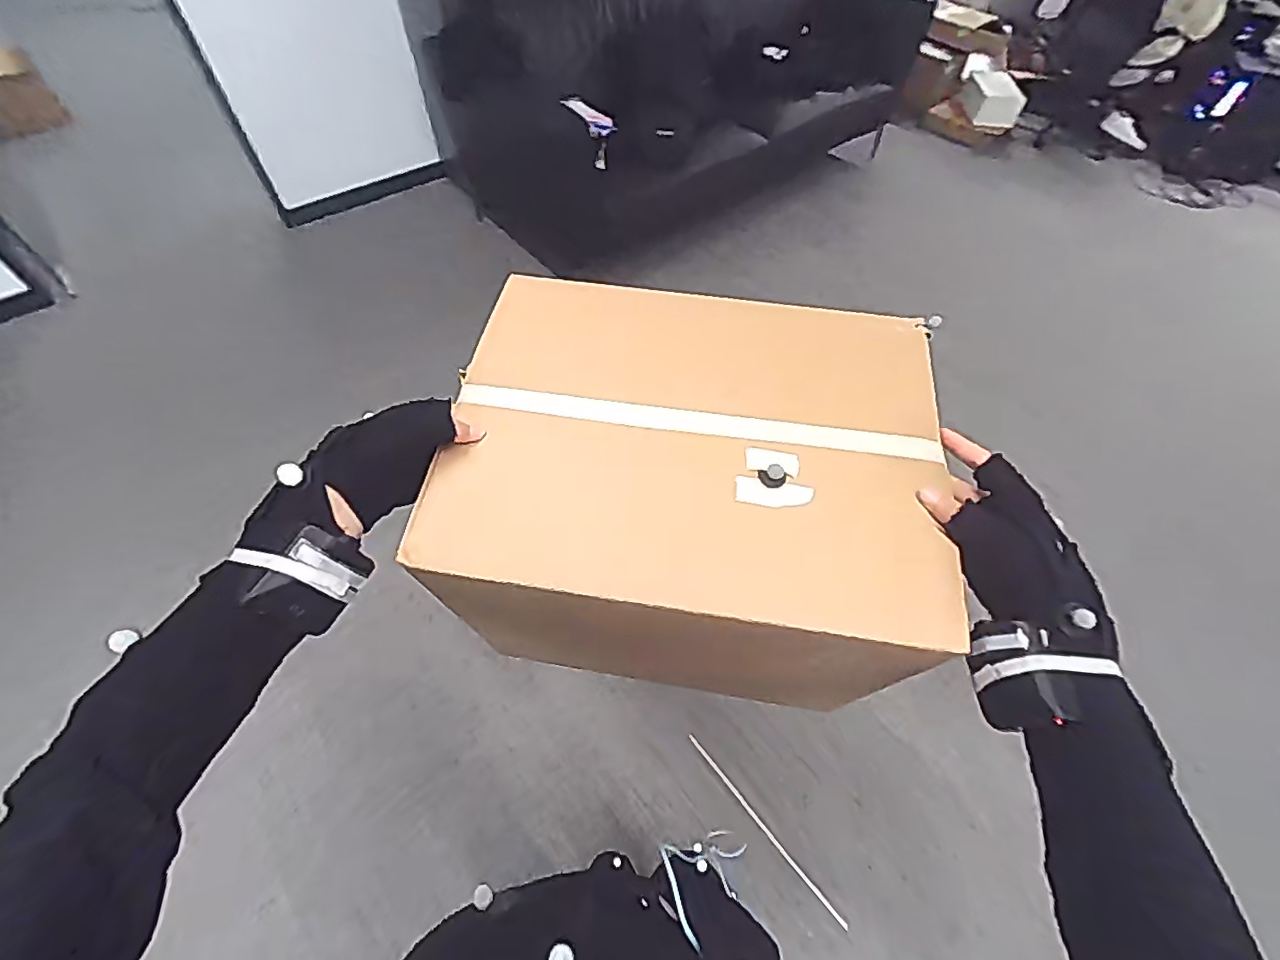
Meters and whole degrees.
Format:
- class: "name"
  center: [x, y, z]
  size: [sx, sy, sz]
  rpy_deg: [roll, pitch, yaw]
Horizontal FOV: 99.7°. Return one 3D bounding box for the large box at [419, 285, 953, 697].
- class: "large box"
  center: [0.044, 0.028, 0.596]
  size: [0.408, 0.320, 0.320]
  rpy_deg: [8, 61, 3]
